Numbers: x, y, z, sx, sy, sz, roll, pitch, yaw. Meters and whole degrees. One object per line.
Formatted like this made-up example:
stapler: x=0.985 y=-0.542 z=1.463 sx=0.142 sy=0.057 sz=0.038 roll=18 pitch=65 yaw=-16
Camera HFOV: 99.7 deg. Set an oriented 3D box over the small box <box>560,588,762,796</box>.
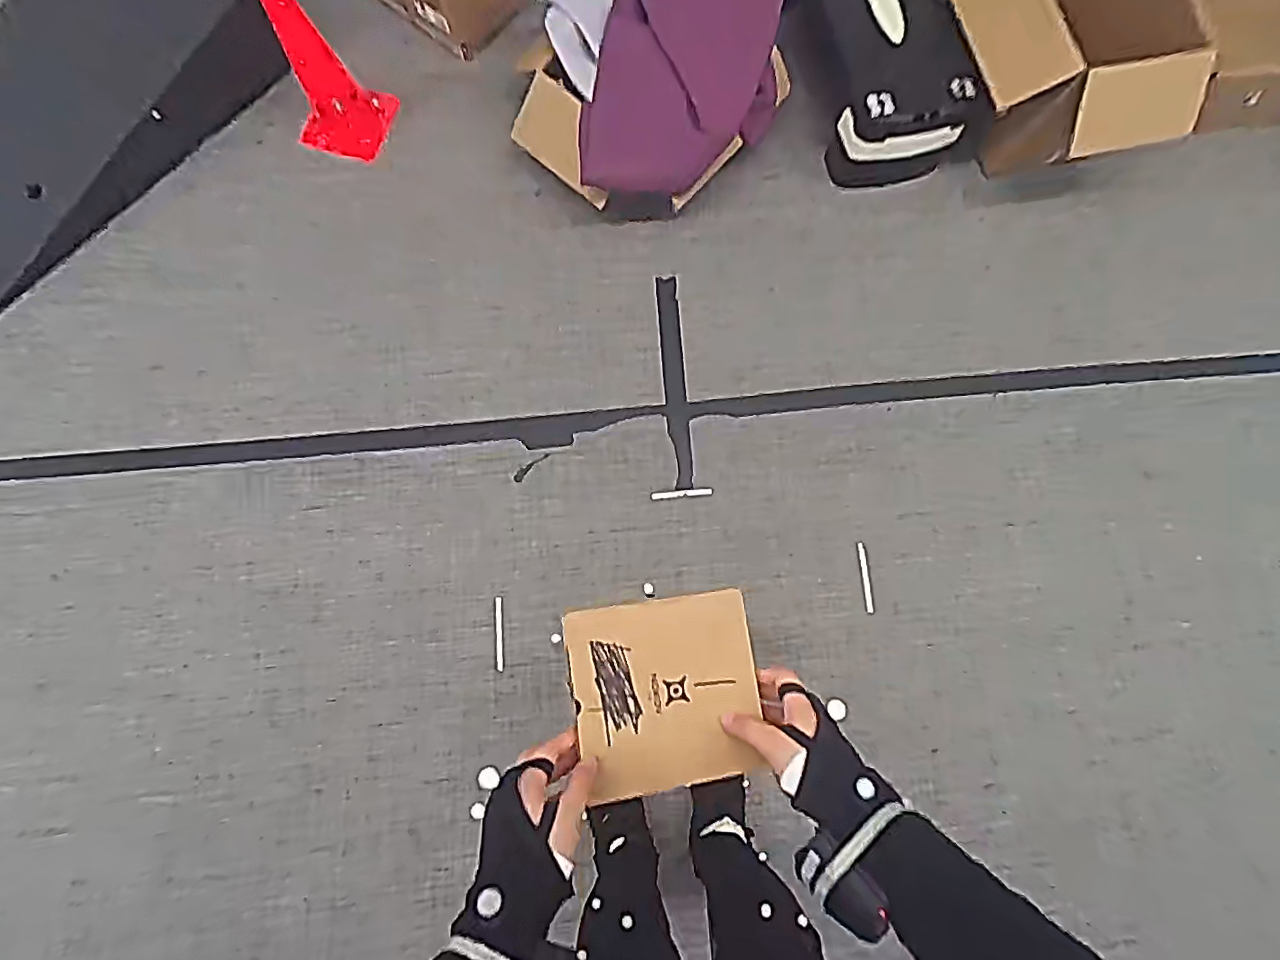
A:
small box: x=0.009 y=0.210 z=0.584 sx=0.179 sy=0.176 sz=0.168 roll=-6 pitch=80 yaw=-10
